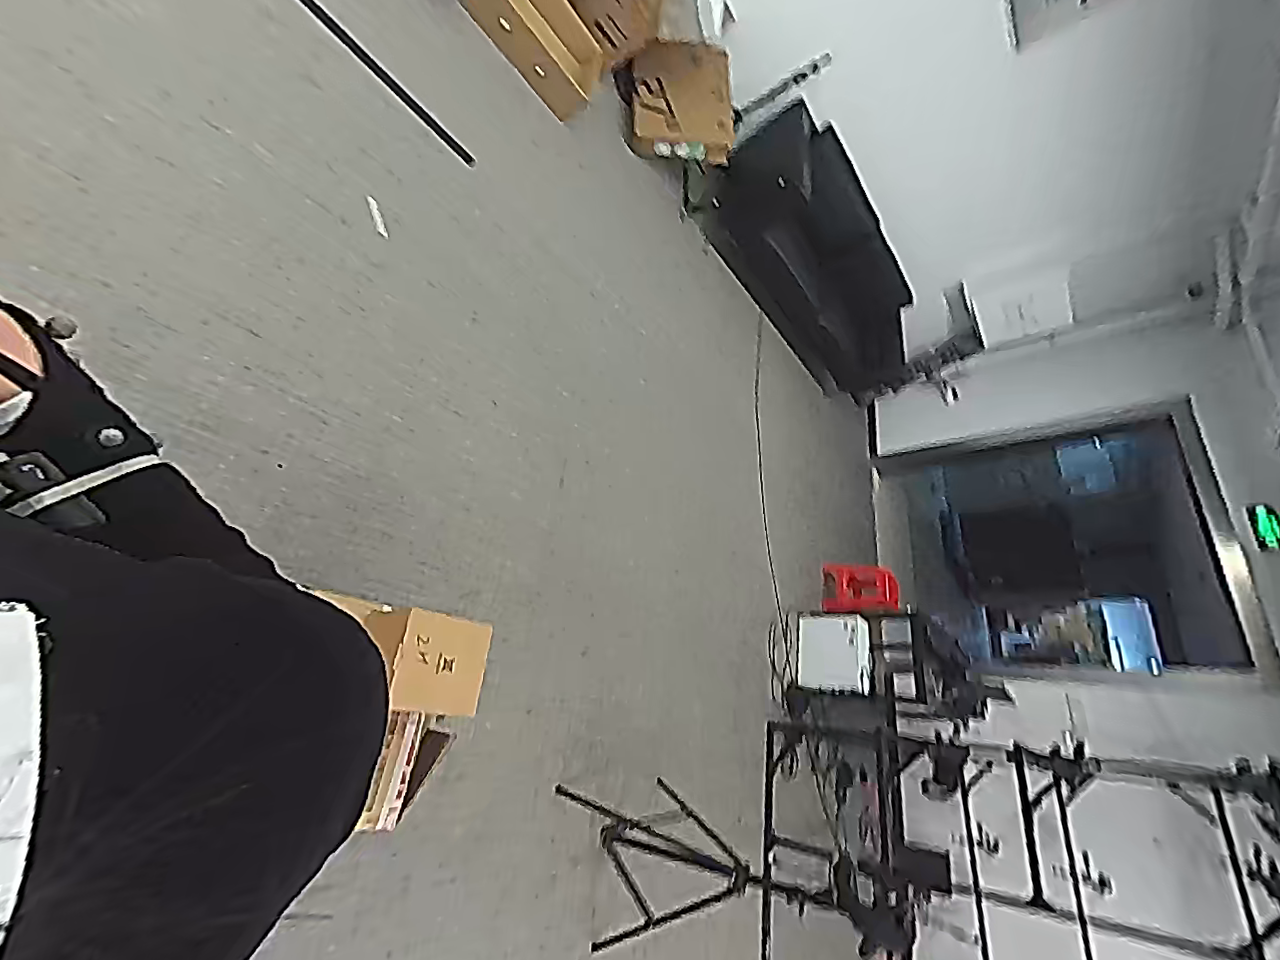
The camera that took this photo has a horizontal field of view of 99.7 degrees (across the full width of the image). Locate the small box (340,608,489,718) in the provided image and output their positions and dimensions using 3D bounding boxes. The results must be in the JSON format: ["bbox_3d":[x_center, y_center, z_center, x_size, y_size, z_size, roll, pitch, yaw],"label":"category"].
[{"bbox_3d":[-0.417,0.342,1.008,0.179,0.176,0.168,31,55,-41],"label":"small box"}]
